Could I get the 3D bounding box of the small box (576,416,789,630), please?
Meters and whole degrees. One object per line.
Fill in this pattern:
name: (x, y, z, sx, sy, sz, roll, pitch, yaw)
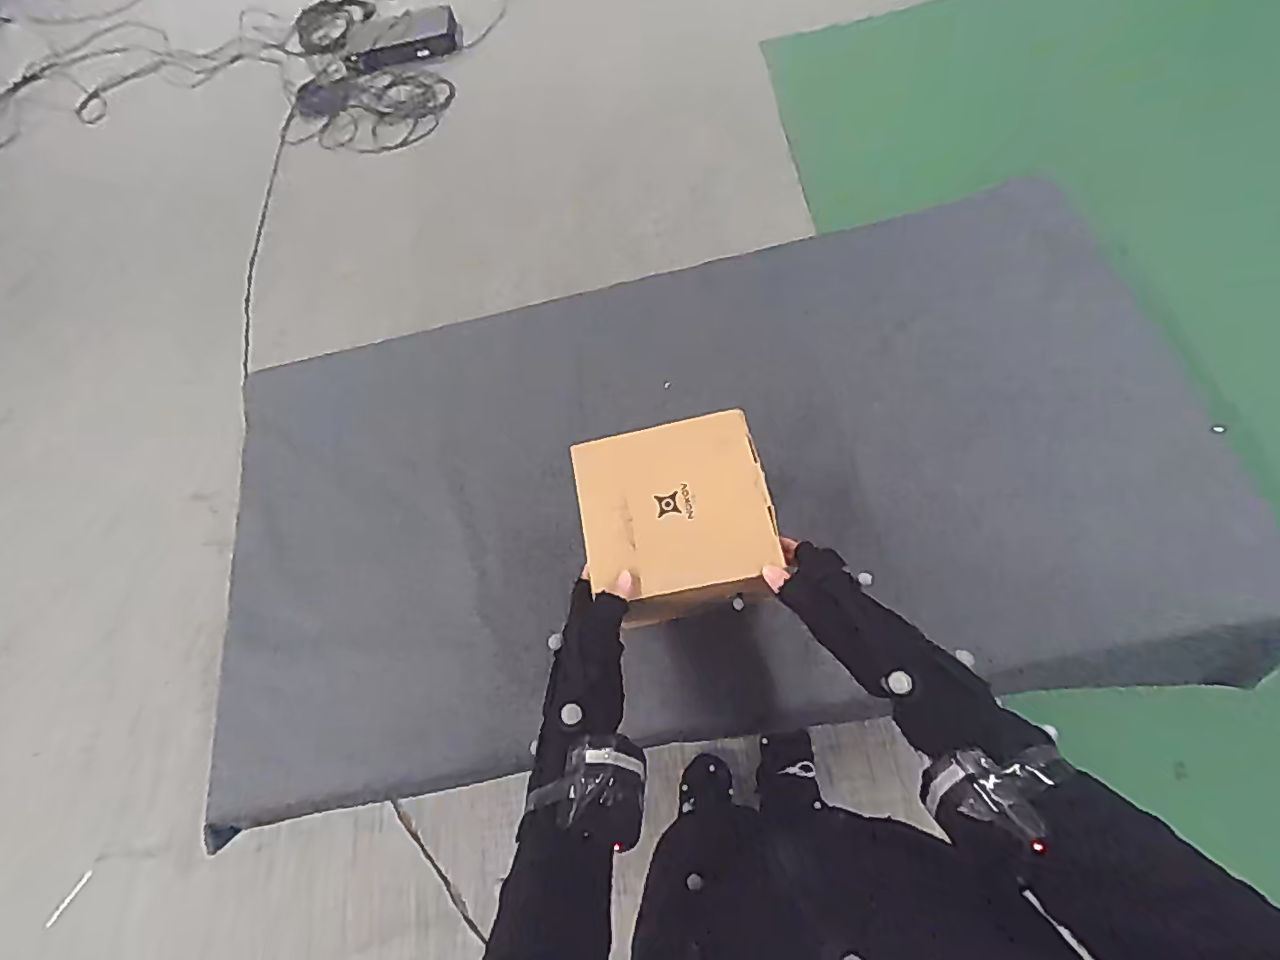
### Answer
small box: (0.045, 0.057, 0.586, 0.179, 0.176, 0.168, -14, 66, 4)
